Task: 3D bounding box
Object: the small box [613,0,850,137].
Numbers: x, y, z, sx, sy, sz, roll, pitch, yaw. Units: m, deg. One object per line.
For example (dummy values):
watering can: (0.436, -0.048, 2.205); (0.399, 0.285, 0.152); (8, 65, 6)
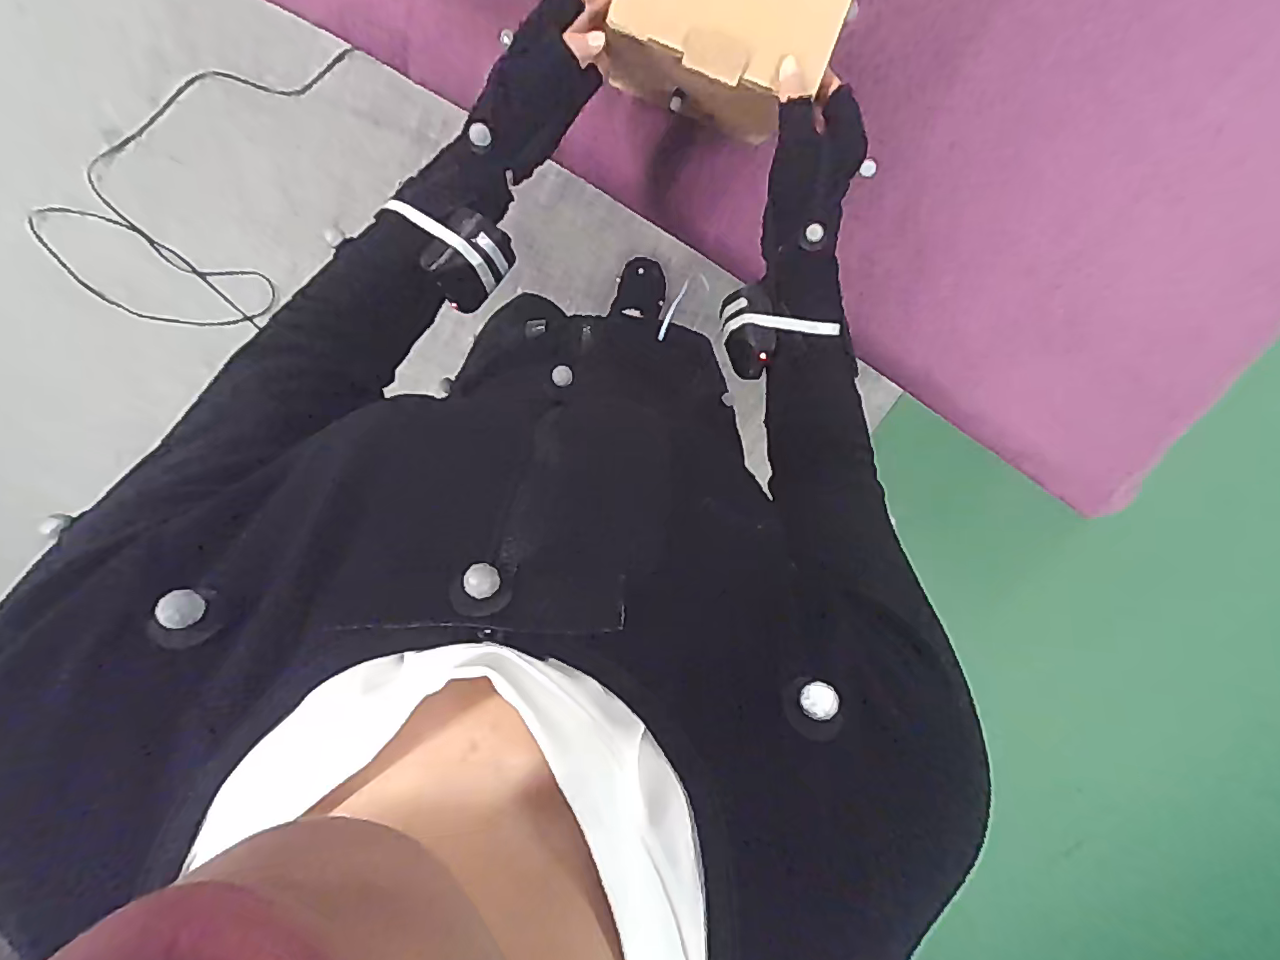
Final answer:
small box: (0.078, -0.421, 0.451); (0.168, 0.176, 0.179); (16, 113, -10)
